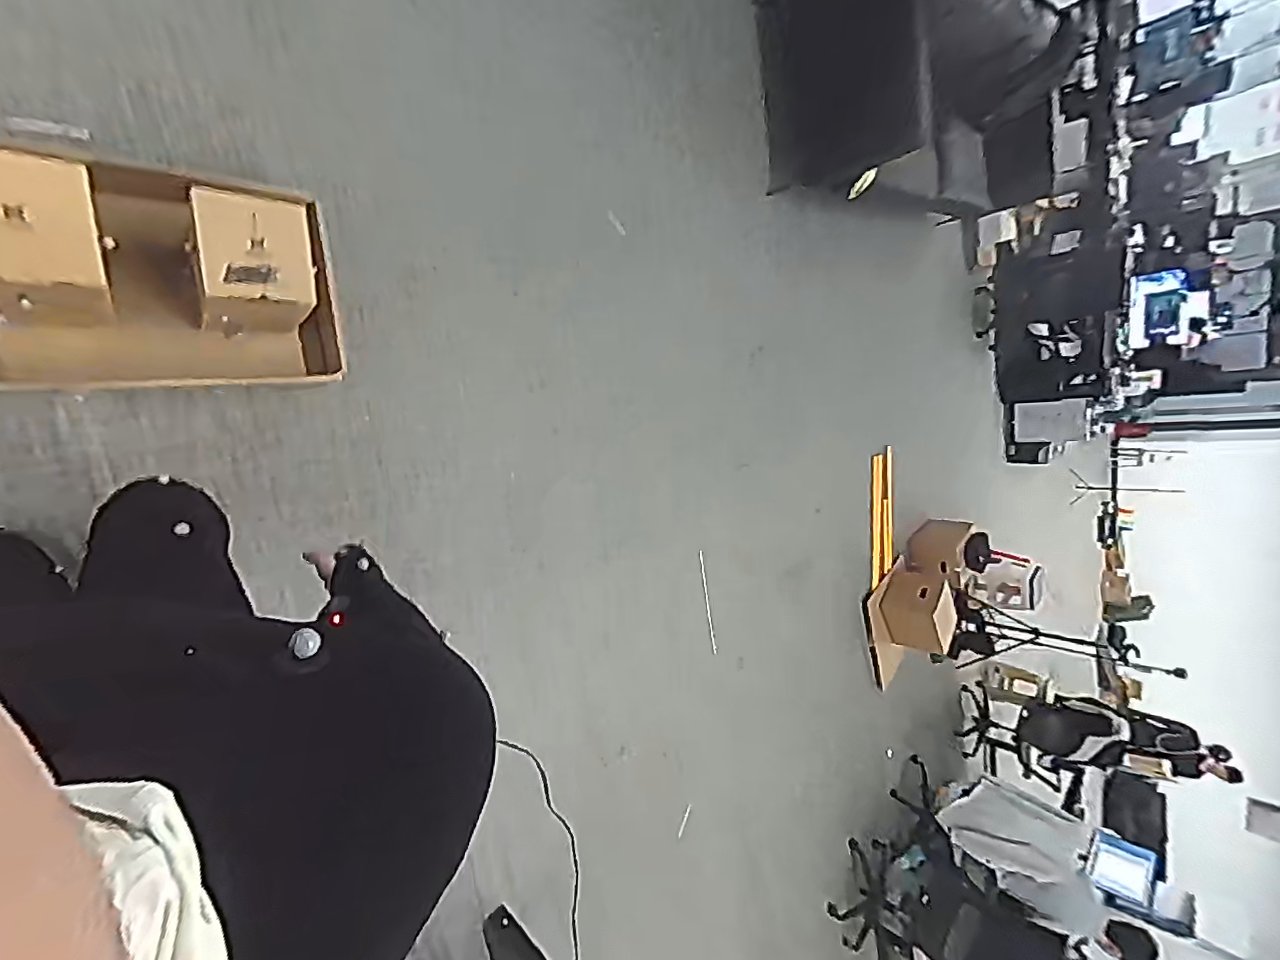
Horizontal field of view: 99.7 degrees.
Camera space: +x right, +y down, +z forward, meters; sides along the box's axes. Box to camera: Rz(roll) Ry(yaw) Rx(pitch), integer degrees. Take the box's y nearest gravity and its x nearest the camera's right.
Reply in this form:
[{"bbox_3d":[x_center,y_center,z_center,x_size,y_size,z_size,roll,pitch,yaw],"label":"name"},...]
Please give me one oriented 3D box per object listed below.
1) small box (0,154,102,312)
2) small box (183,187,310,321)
[{"bbox_3d":[-0.931,-0.362,0.804,0.168,0.176,0.179,-11,98,-43],"label":"small box"},{"bbox_3d":[-0.723,-0.399,0.993,0.168,0.176,0.179,-9,96,-41],"label":"small box"}]
